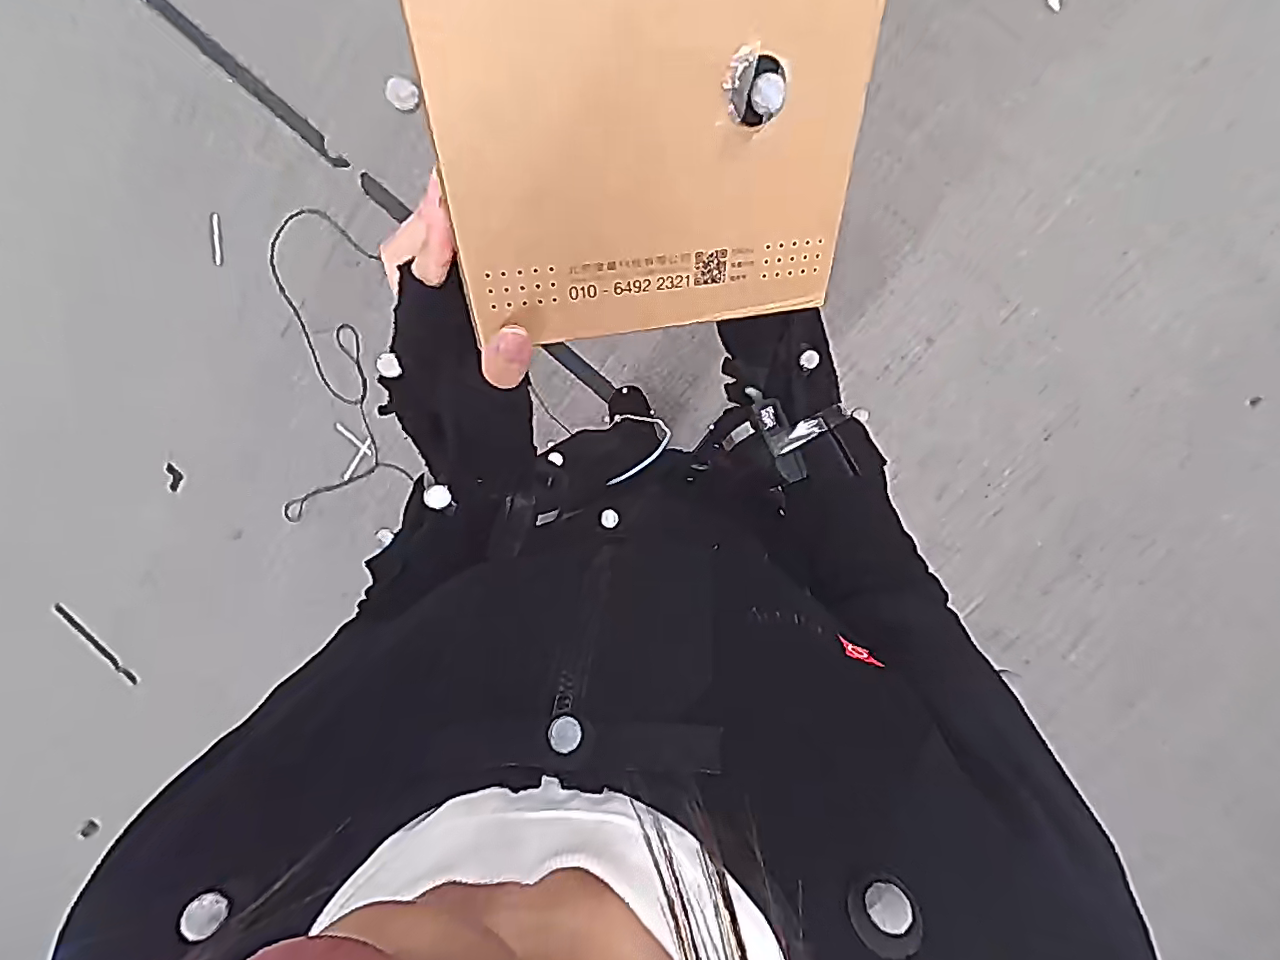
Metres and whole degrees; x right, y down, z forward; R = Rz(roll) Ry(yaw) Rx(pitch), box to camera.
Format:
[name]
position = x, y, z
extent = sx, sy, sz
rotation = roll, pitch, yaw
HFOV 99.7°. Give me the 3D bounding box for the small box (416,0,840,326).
[small box]
position = -0.014, -0.189, 0.282
extent = 0.168, 0.179, 0.176
rotation = -10, 131, -11
